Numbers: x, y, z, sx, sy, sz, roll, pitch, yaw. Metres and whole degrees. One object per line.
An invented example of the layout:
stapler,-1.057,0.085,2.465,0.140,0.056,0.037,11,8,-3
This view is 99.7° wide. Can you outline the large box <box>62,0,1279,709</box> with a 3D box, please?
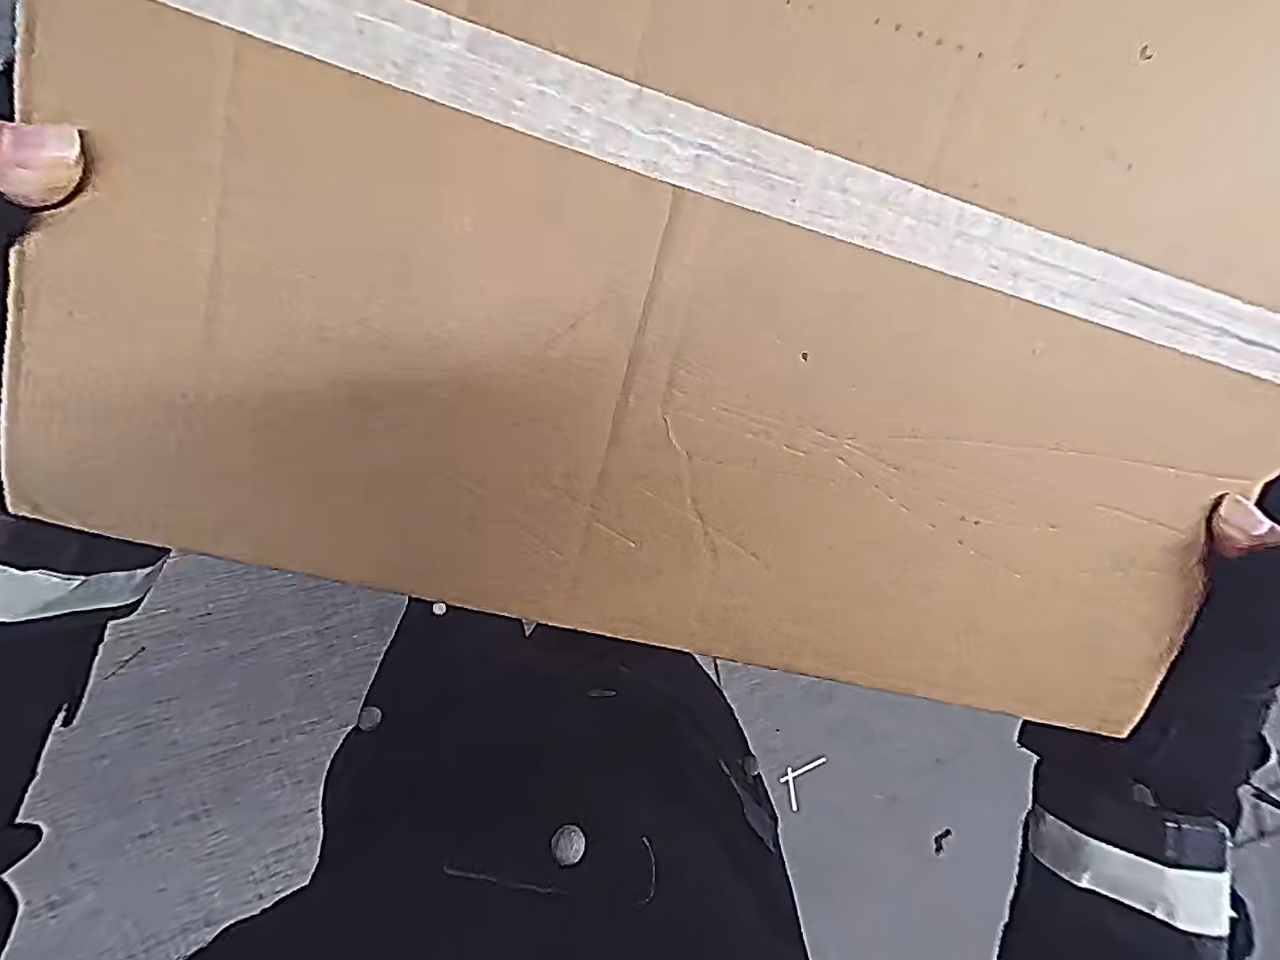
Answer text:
large box,0.029,-0.119,0.320,0.408,0.320,0.320,14,101,-10
